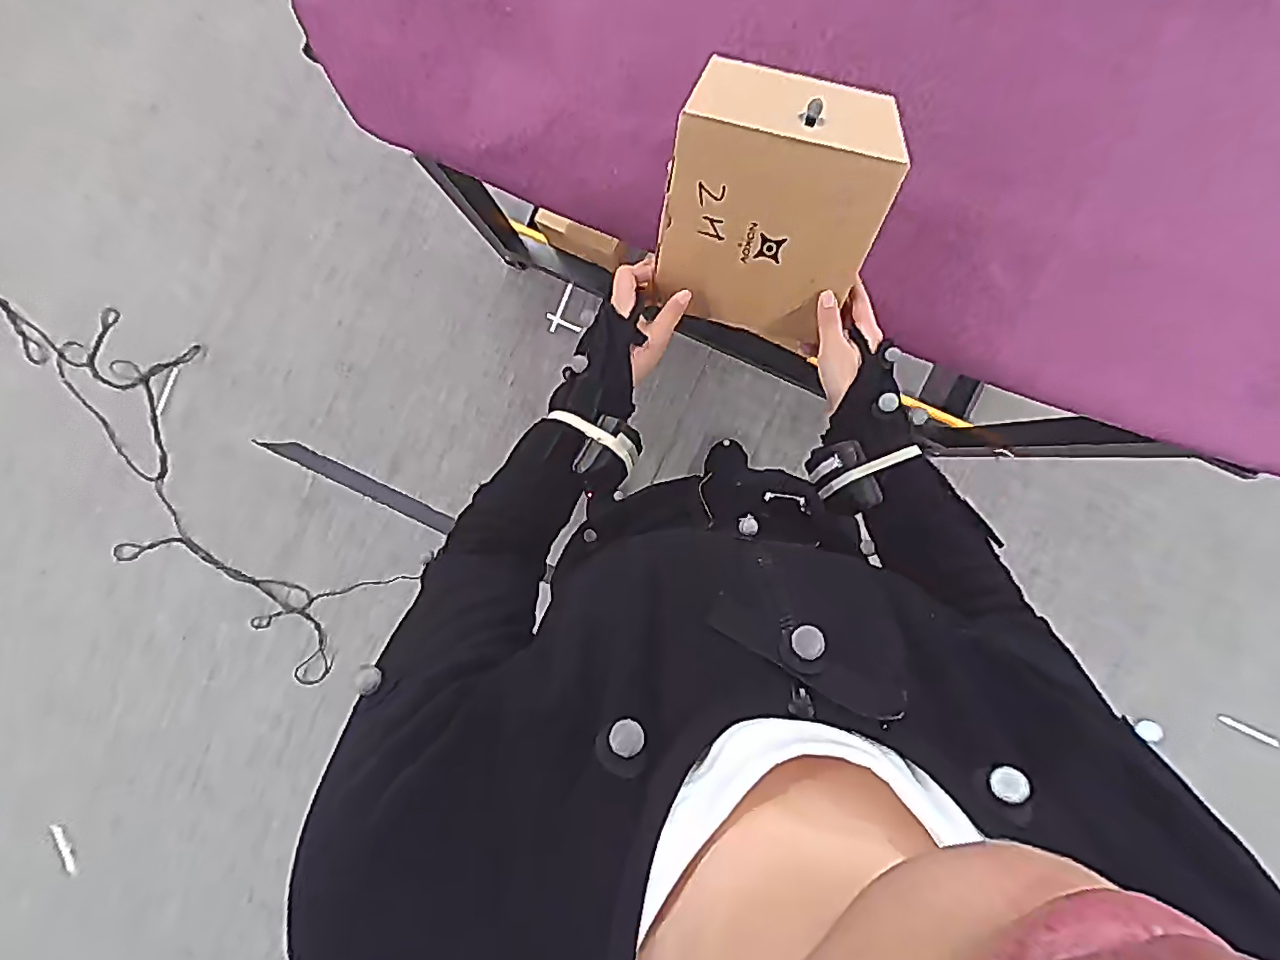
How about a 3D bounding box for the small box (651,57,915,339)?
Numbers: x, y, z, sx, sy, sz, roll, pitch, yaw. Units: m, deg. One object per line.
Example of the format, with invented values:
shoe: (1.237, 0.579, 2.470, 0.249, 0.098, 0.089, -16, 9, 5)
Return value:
small box: (0.122, -0.263, 0.503, 0.179, 0.168, 0.176, 15, 50, 2)
